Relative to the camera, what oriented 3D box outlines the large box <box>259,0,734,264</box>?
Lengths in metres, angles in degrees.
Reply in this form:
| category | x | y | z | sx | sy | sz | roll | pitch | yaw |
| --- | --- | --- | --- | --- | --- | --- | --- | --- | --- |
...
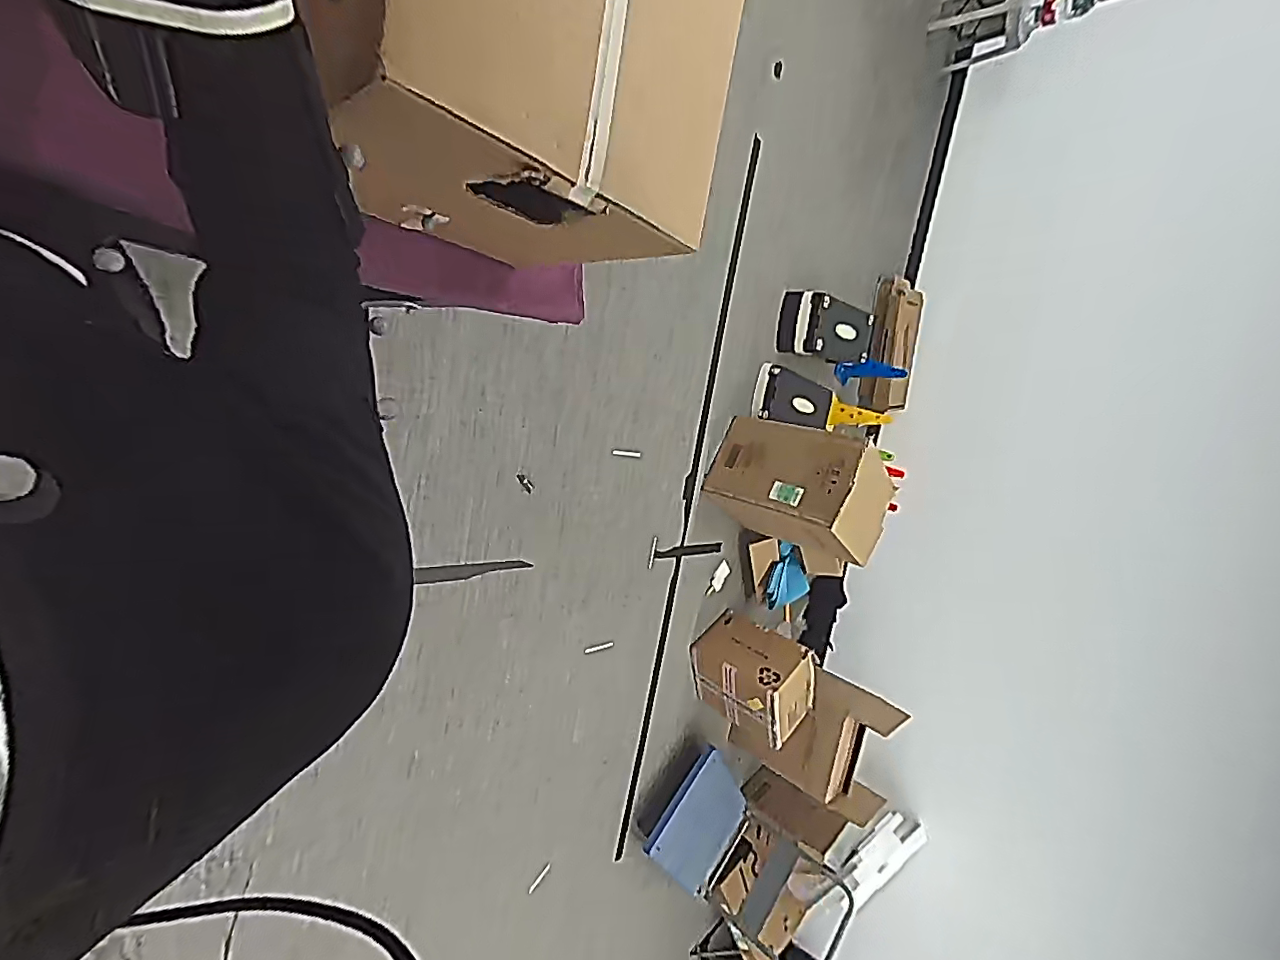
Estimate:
| category | x | y | z | sx | sy | sz | roll | pitch | yaw |
| --- | --- | --- | --- | --- | --- | --- | --- | --- | --- |
| large box | -0.125 | -0.454 | 0.497 | 0.320 | 0.320 | 0.408 | 1 | 101 | -49 |
